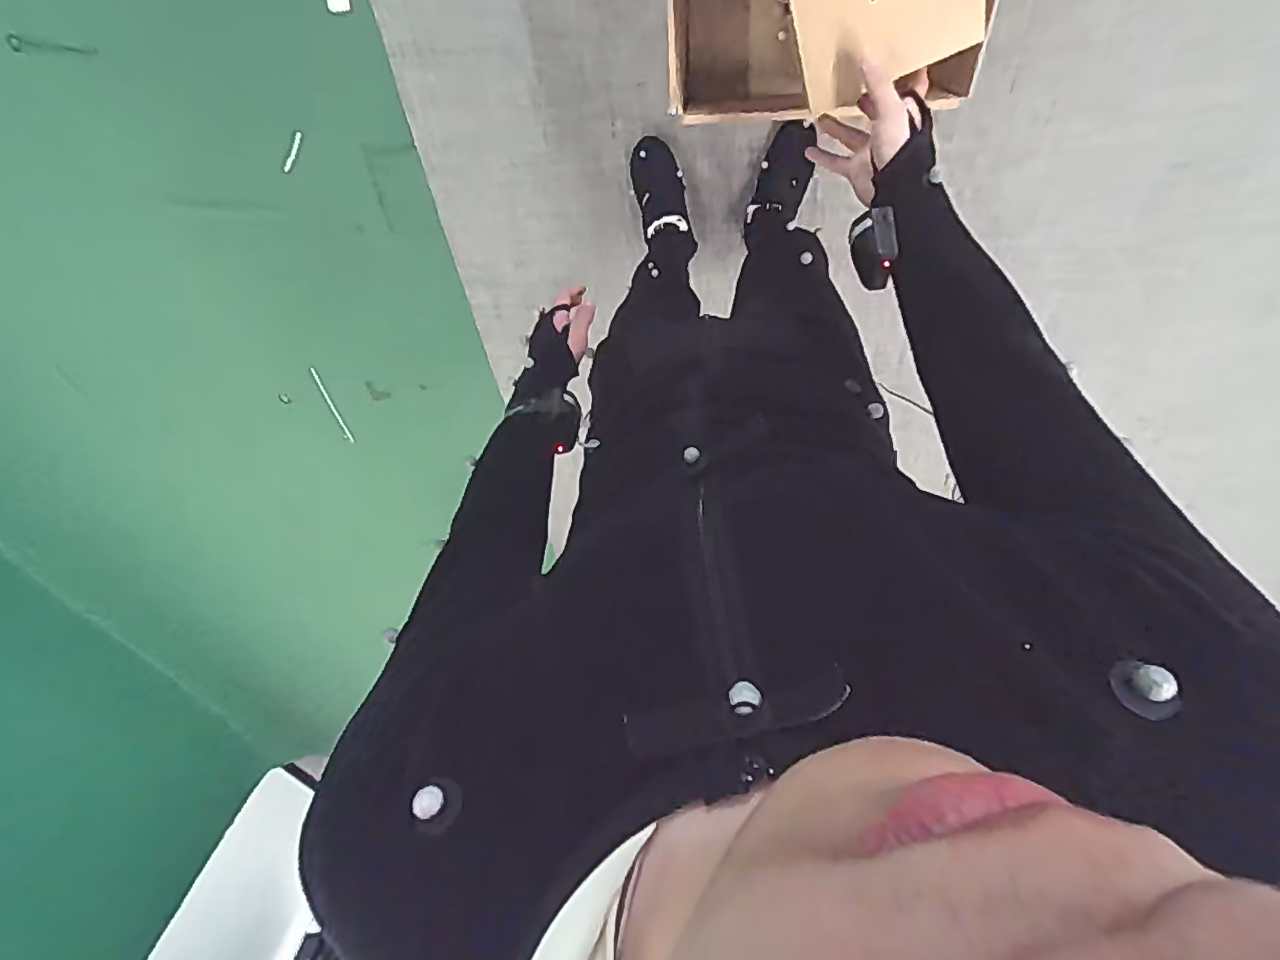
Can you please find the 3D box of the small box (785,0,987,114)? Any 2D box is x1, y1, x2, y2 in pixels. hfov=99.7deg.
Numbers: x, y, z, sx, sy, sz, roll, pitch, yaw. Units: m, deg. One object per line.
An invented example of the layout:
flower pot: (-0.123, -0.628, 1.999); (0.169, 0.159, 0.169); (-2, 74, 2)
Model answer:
small box: (0.235, -0.518, 0.548); (0.168, 0.176, 0.179); (-12, 130, 22)
